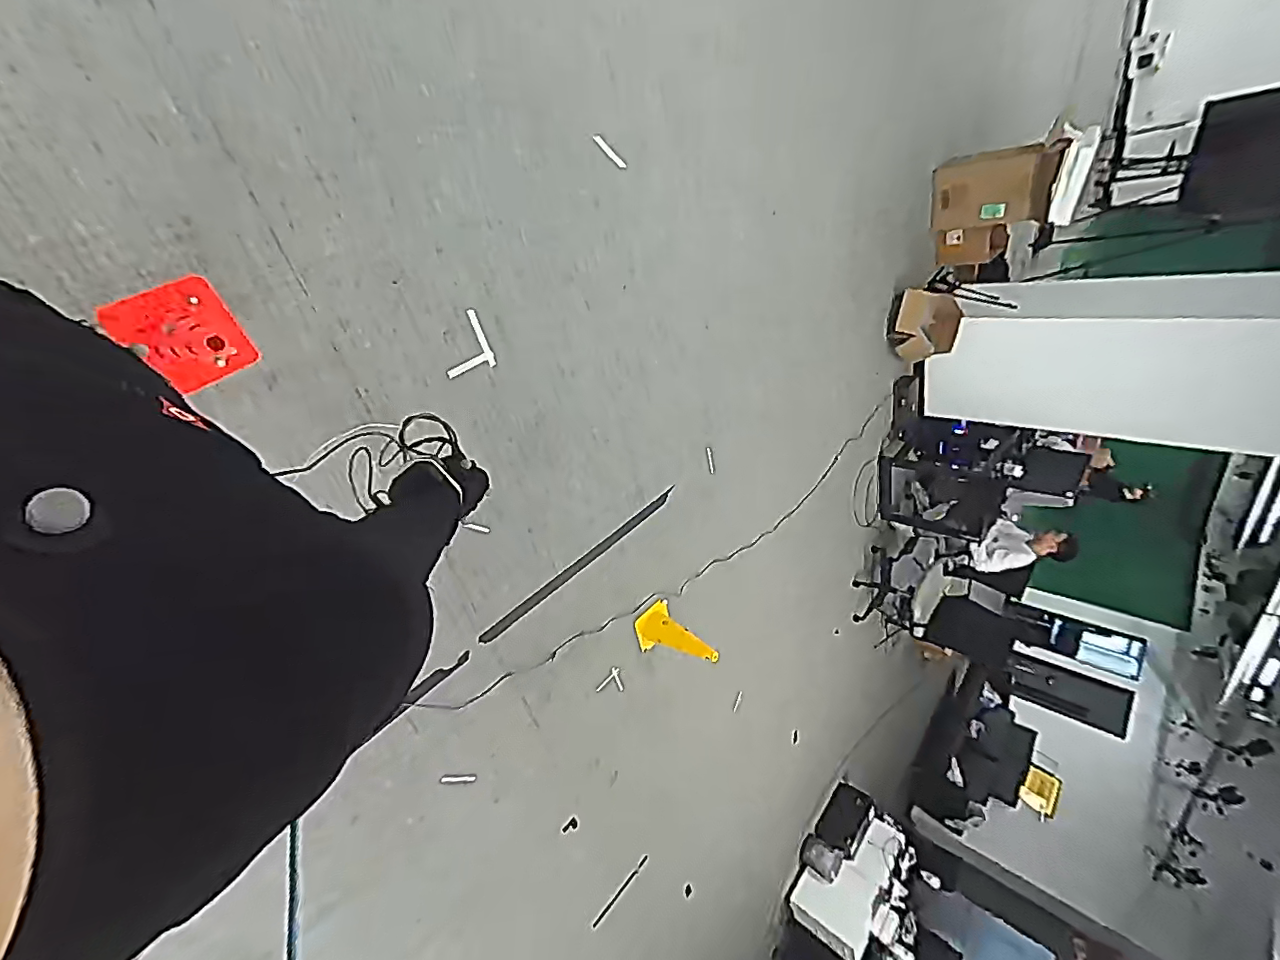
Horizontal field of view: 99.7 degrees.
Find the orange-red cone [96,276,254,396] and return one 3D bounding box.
[{"bbox_3d":[-0.823,-0.259,0.994,0.199,0.360,0.198,-40,128,-30],"label":"orange-red cone"}]
